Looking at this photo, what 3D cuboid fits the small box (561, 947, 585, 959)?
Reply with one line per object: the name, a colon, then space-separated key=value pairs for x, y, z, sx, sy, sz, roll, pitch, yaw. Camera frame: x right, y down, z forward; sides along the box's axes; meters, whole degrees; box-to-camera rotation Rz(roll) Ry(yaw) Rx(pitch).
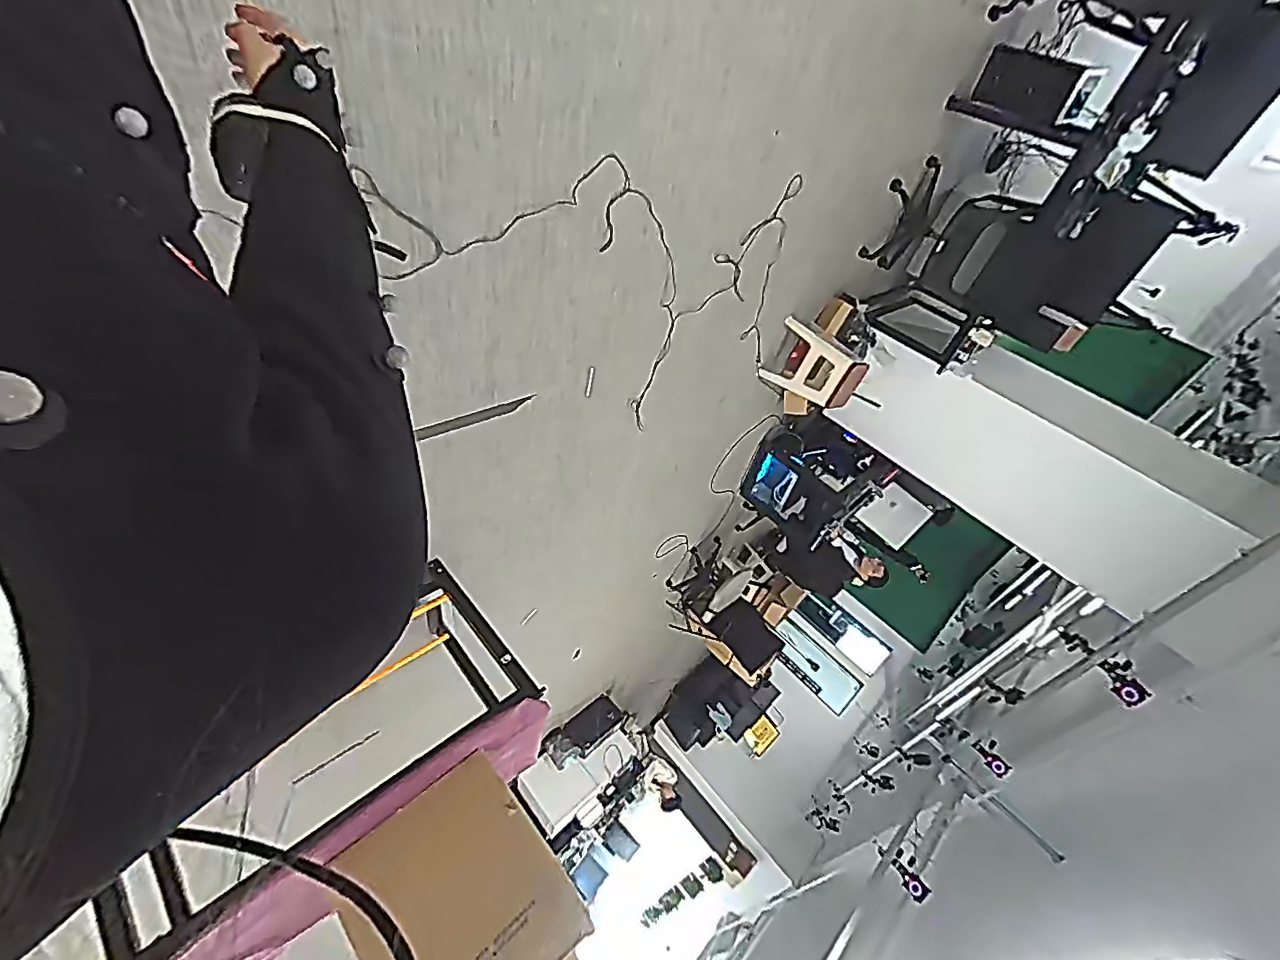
small box: x=-0.216 y=1.548 z=1.609 sx=0.168 sy=0.176 sz=0.179 roll=-25 pitch=146 yaw=-38
